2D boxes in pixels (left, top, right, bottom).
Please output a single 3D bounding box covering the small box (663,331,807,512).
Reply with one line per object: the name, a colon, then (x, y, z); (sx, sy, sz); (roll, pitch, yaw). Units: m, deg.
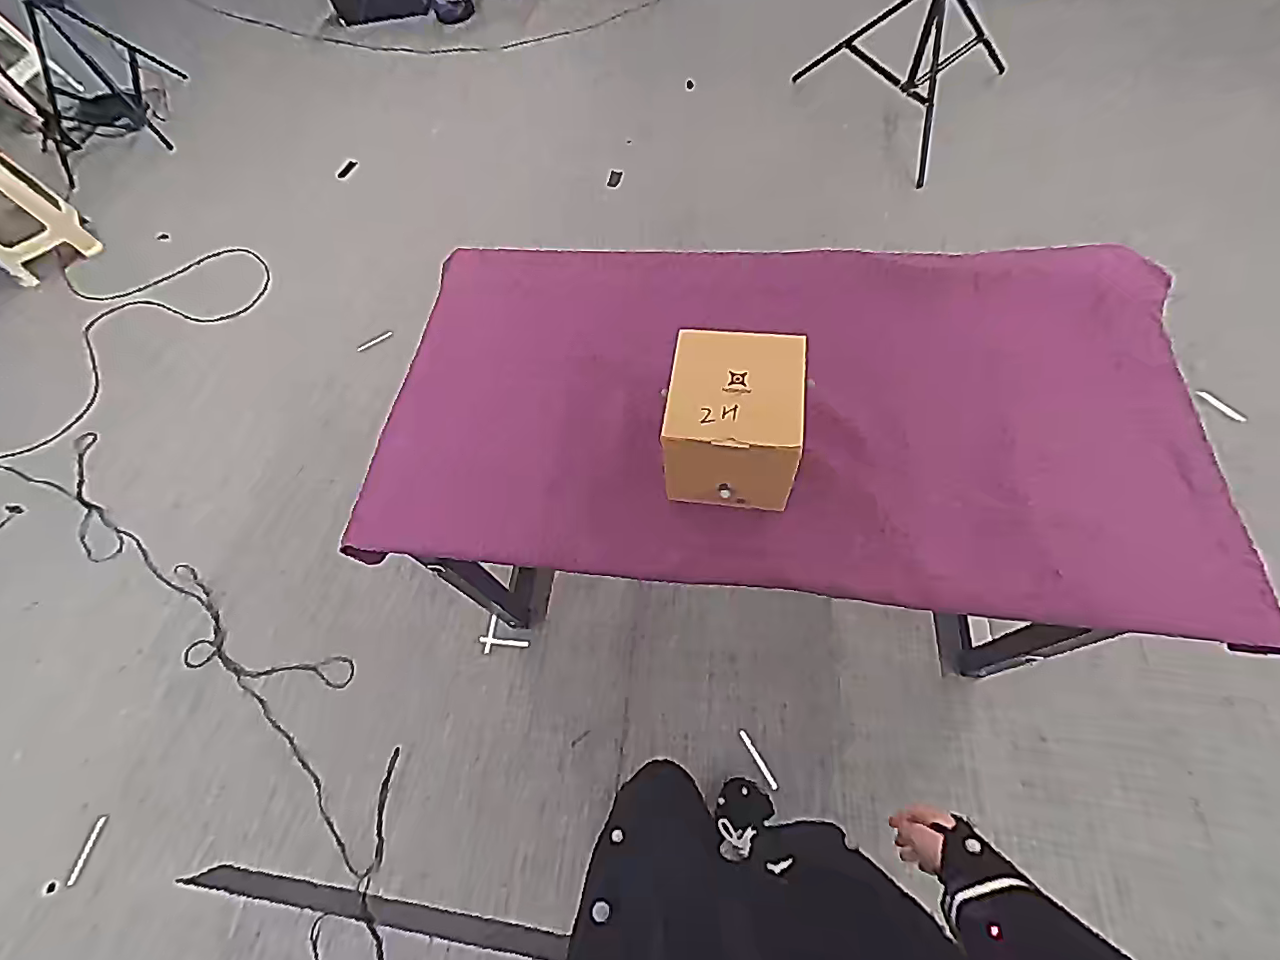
small box: (0.128, -0.077, 0.741); (0.168, 0.176, 0.179); (6, 62, 10)
